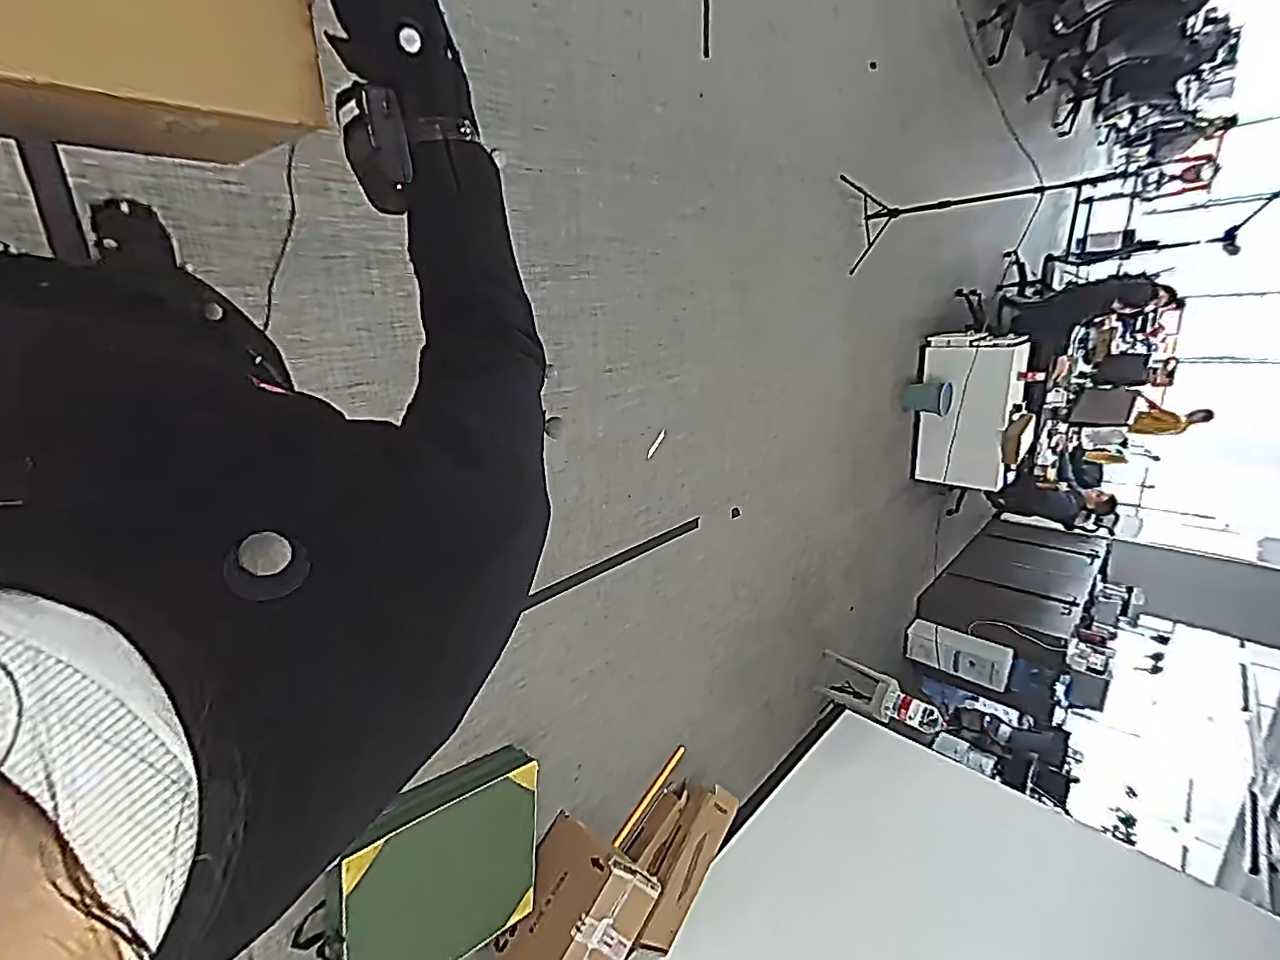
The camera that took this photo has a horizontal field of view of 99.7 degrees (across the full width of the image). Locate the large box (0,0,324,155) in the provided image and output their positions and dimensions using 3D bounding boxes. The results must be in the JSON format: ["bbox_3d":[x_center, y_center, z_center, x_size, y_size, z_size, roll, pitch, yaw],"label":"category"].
[{"bbox_3d":[-0.457,-0.379,0.279,0.408,0.320,0.320,-19,122,-40],"label":"large box"}]
